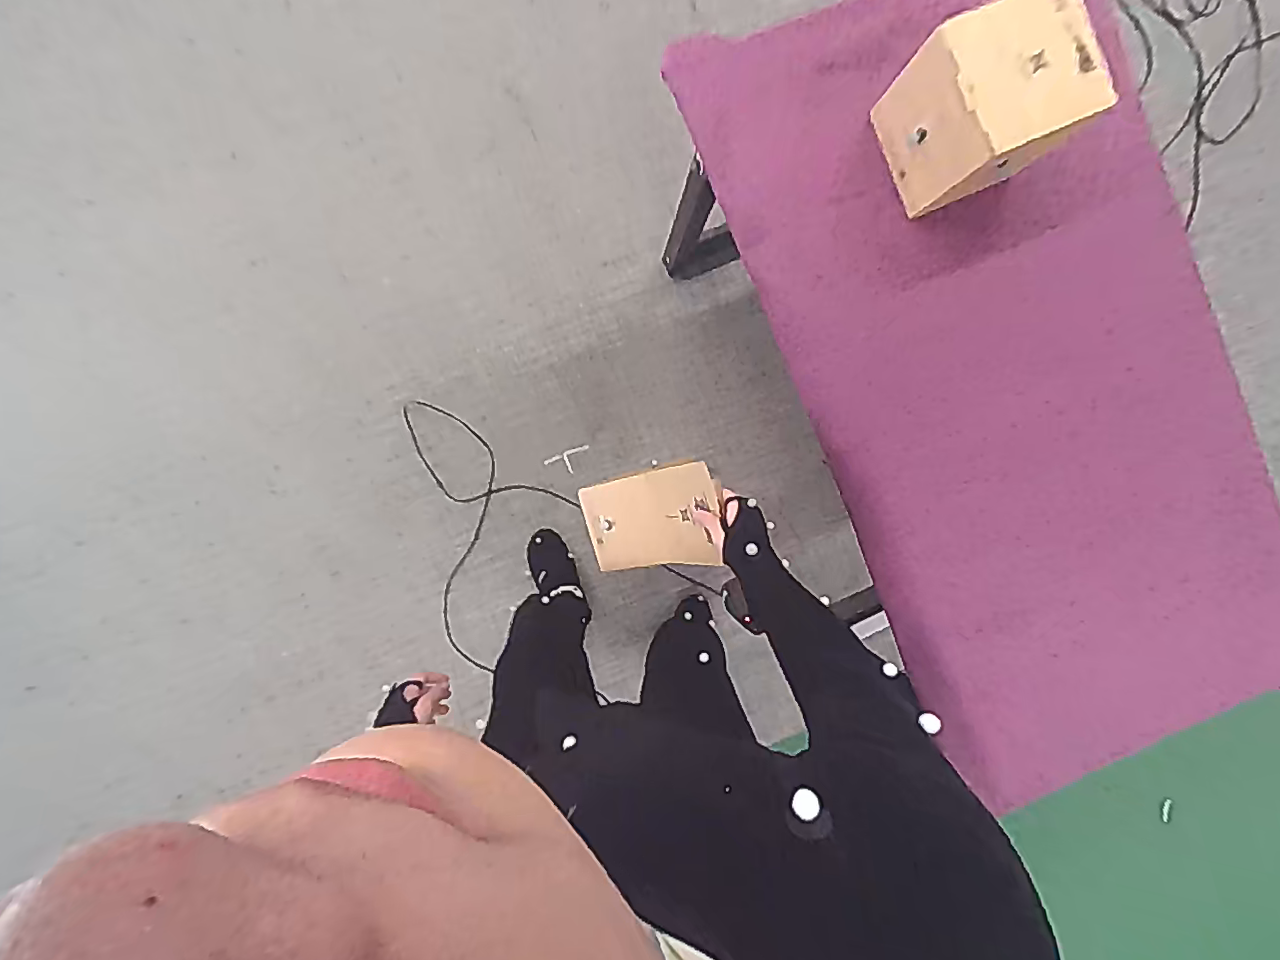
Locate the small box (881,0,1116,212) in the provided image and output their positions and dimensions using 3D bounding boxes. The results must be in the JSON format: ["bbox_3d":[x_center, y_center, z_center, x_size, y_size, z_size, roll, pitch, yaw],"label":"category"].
[{"bbox_3d":[0.446,-0.488,0.709,0.179,0.176,0.168,-24,94,-2],"label":"small box"}]
